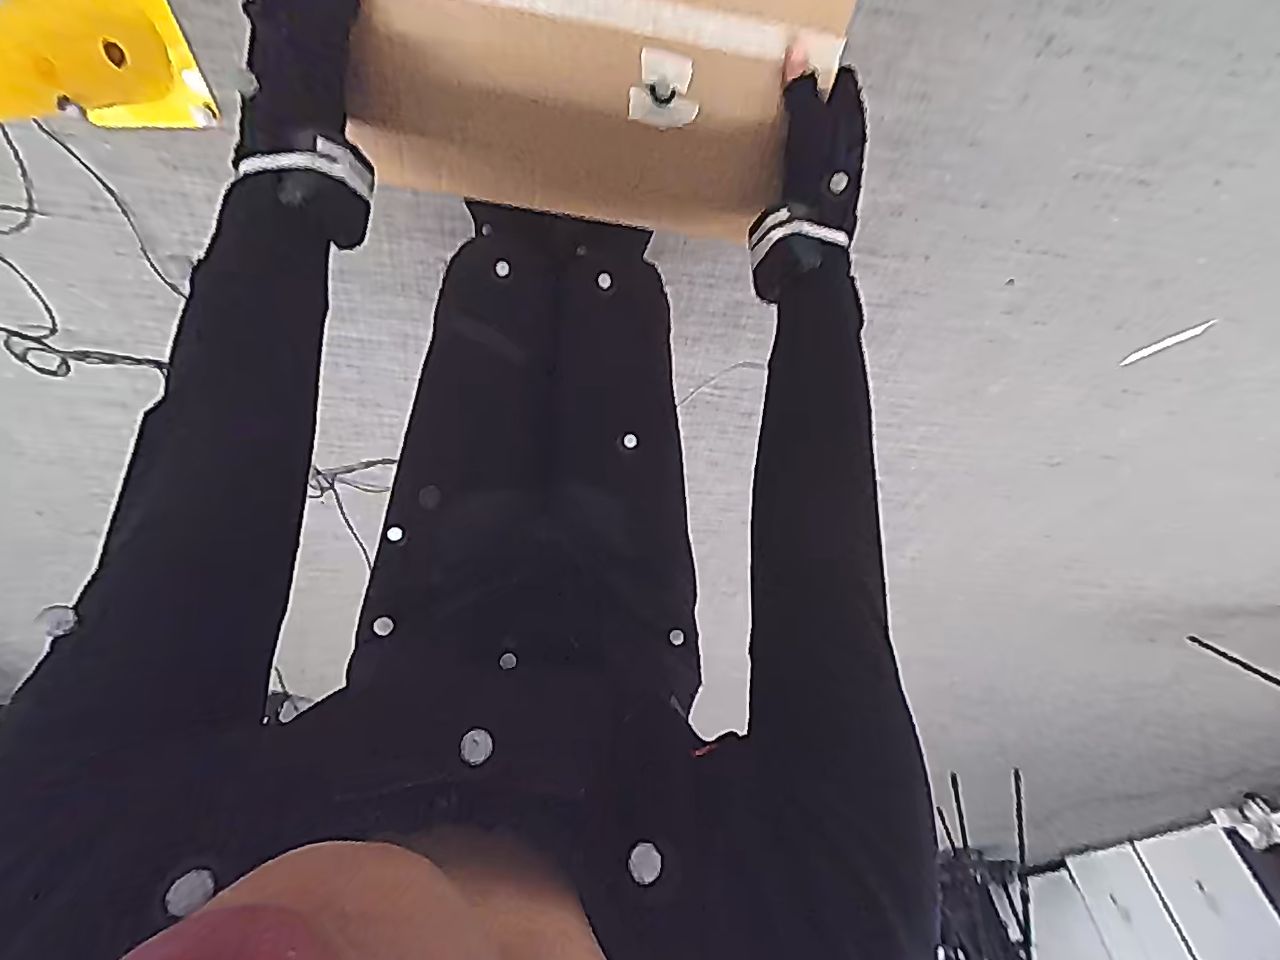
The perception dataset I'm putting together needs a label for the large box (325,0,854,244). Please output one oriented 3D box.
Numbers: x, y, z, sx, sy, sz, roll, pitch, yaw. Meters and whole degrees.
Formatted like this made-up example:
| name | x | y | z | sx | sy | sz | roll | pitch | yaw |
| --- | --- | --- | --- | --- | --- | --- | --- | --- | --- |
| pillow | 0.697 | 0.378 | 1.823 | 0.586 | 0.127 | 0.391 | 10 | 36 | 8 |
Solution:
| name | x | y | z | sx | sy | sz | roll | pitch | yaw |
| --- | --- | --- | --- | --- | --- | --- | --- | --- | --- |
| large box | -0.043 | -0.462 | 0.519 | 0.408 | 0.320 | 0.320 | 6 | 134 | -7 |
